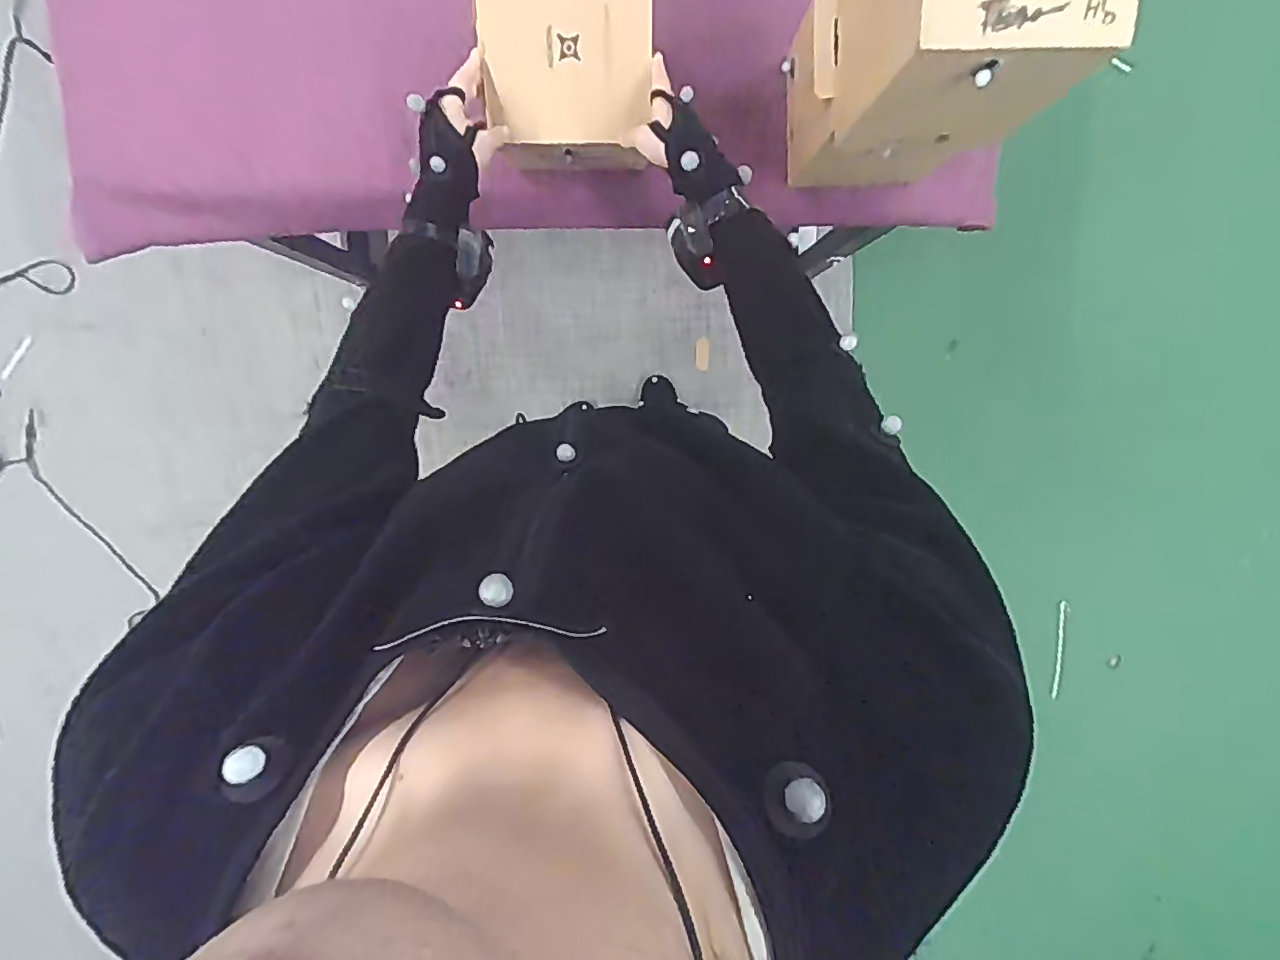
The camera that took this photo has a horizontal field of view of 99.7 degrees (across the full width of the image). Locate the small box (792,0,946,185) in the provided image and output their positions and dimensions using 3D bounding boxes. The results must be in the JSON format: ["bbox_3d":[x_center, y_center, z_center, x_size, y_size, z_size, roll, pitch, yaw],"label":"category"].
[{"bbox_3d":[0.284,-0.465,0.635,0.179,0.176,0.168,-4,99,-1],"label":"small box"}]

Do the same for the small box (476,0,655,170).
[{"bbox_3d":[-0.074,-0.459,0.613,0.179,0.176,0.168,0,112,-2],"label":"small box"}]

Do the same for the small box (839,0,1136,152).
[{"bbox_3d":[0.287,-0.421,0.476,0.168,0.176,0.179,-1,99,0],"label":"small box"}]
